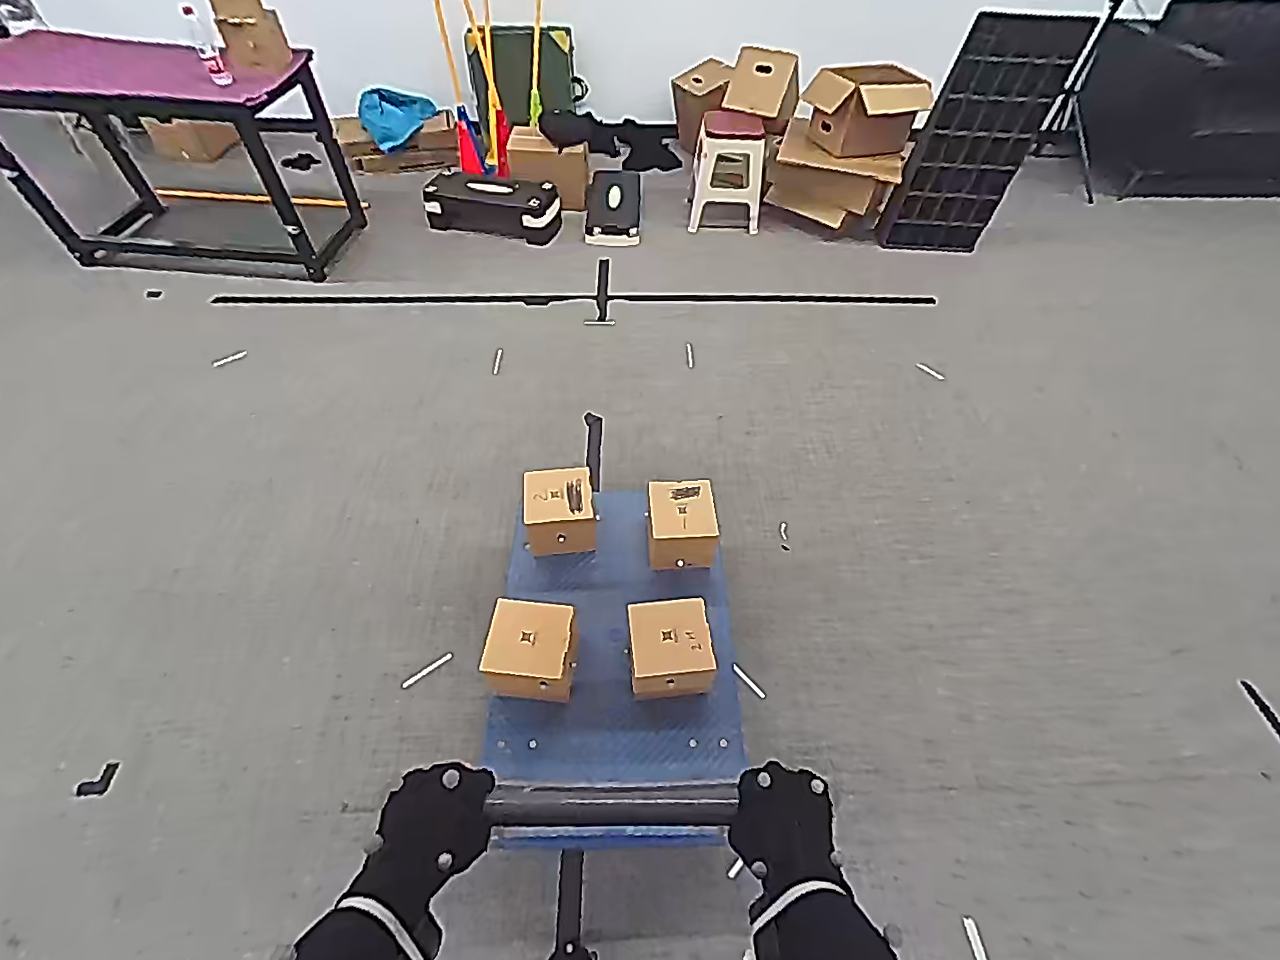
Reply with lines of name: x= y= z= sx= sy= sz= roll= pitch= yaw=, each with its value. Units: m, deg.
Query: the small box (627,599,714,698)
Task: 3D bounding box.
small box: x=0.064 y=0.390 z=1.242 sx=0.179 sy=0.176 sz=0.168 roll=-4 pitch=53 yaw=-5

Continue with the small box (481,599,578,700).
small box: x=-0.243 y=0.389 z=1.233 sx=0.179 sy=0.176 sz=0.168 roll=6 pitch=52 yaw=1

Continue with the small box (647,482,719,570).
small box: x=0.108 y=0.123 z=1.445 sx=0.168 sy=0.176 sz=0.179 roll=-2 pitch=54 yaw=-3
